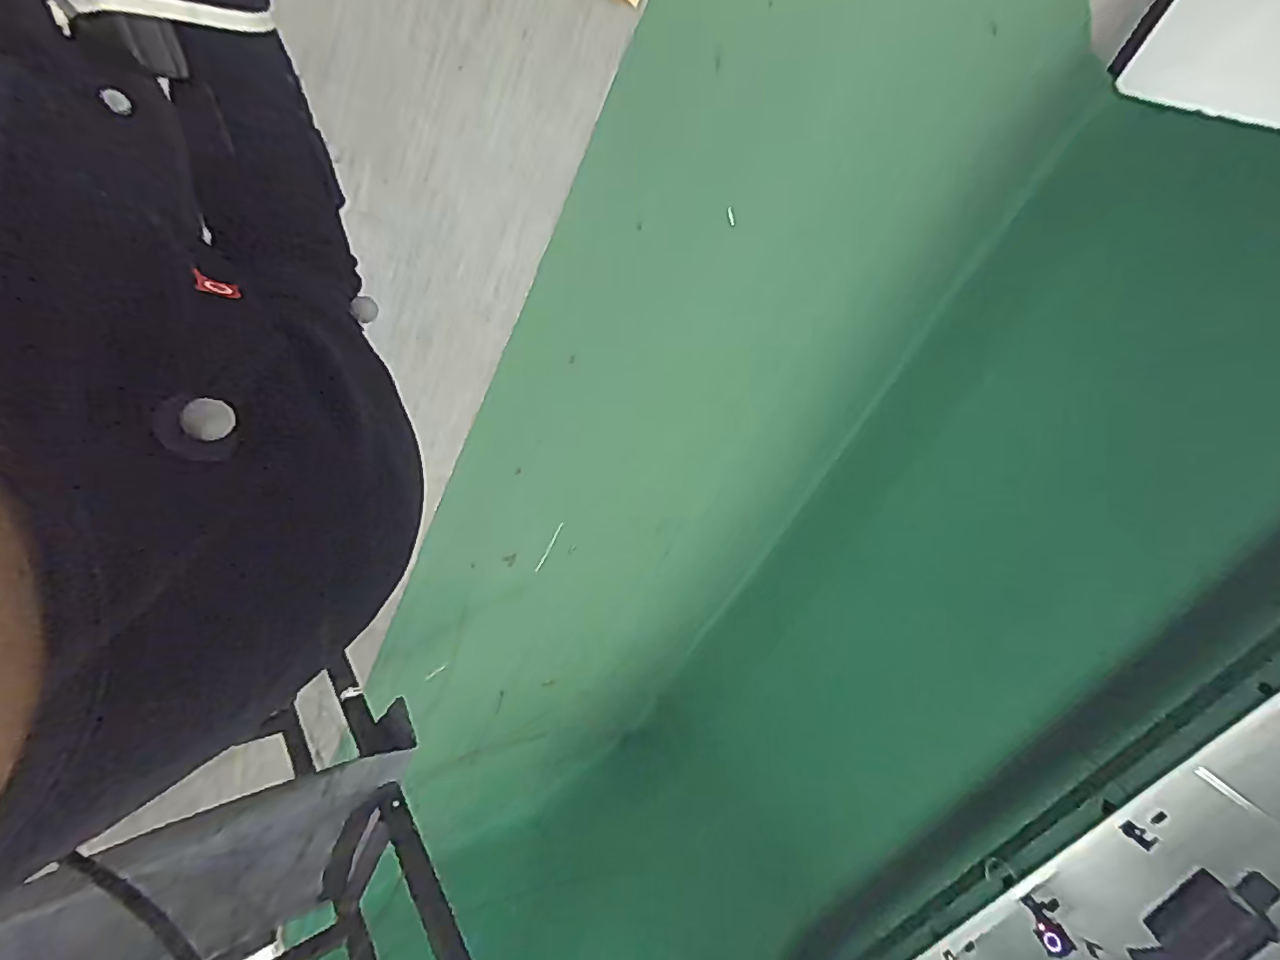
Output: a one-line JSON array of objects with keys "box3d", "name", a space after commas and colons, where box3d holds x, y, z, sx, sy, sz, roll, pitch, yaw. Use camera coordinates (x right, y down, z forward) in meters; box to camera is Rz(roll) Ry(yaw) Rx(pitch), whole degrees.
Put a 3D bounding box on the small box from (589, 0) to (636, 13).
[{"box3d": [-0.081, -1.172, 1.170, 0.168, 0.176, 0.179, 2, 125, -51], "name": "small box"}]
